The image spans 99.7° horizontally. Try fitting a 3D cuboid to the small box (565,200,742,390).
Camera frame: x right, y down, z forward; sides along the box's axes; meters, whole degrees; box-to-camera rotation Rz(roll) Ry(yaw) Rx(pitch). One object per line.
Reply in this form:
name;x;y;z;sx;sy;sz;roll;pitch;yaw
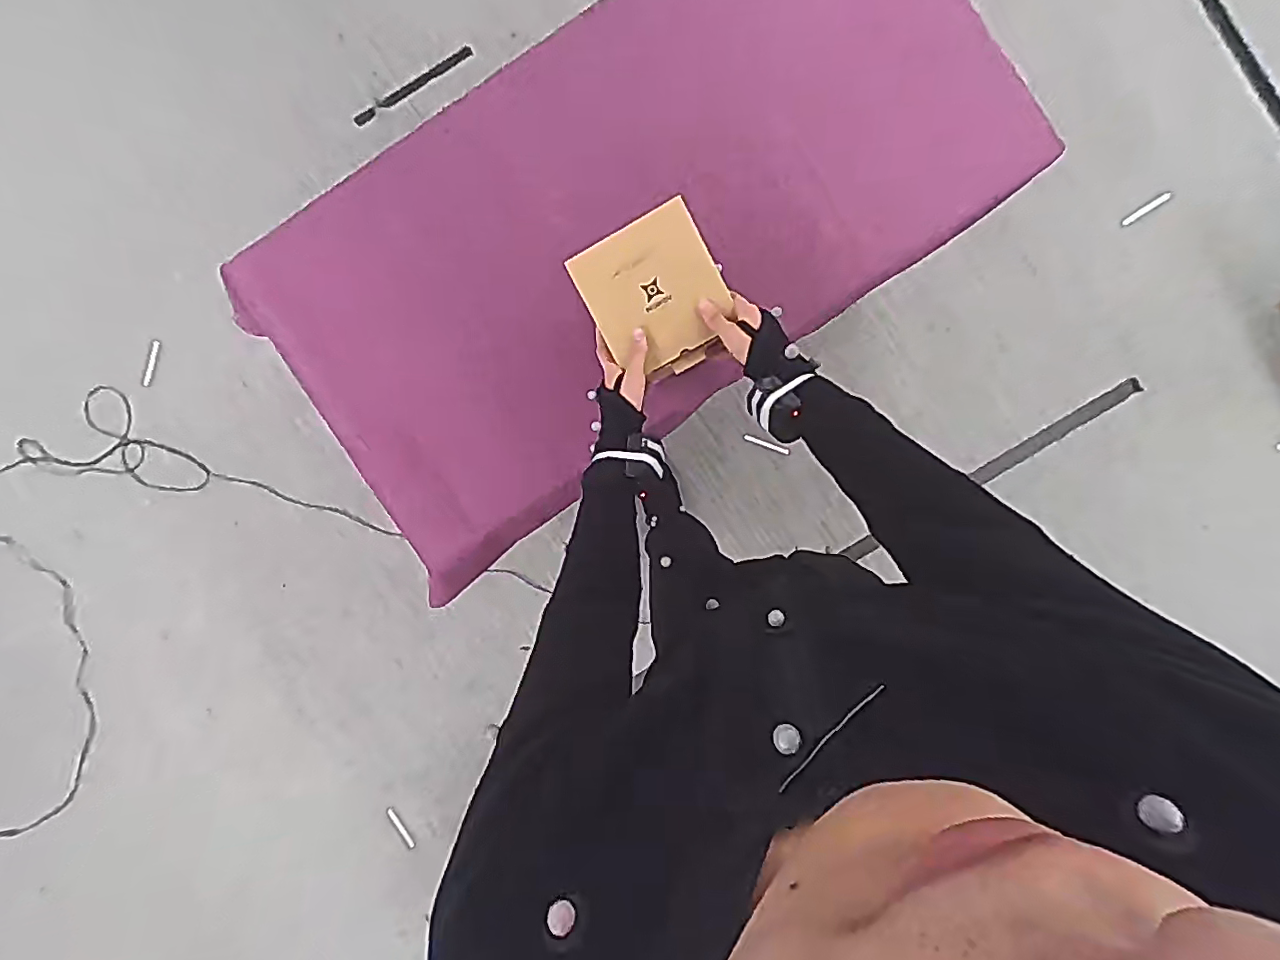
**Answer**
small box;0.022;-0.237;0.744;0.168;0.176;0.179;-28;94;6
